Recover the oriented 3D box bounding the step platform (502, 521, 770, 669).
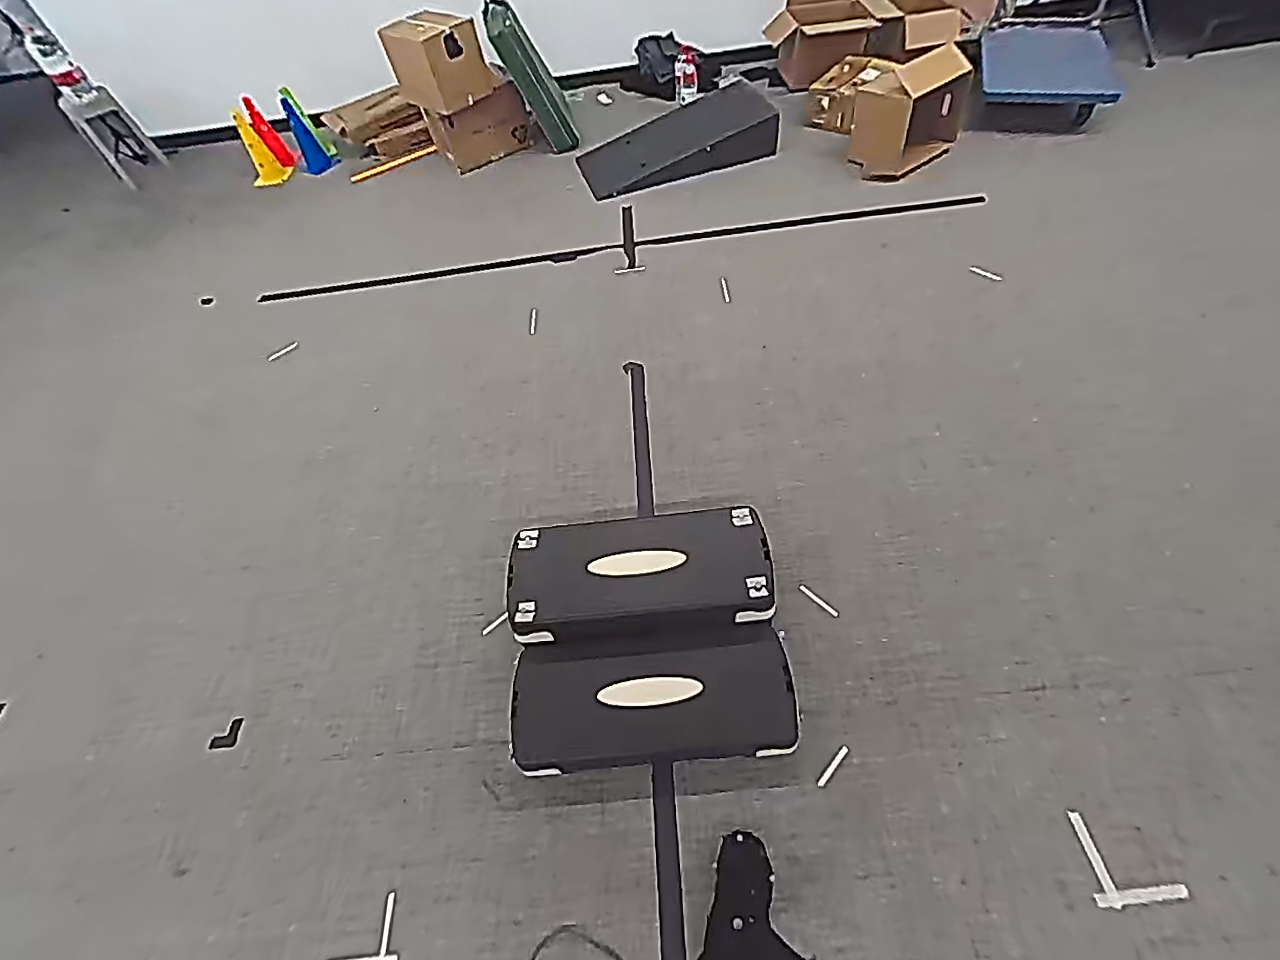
[{"bbox_3d":[-0.012,0.297,1.419,0.684,0.204,0.286,-7,55,1],"label":"step platform"}]
